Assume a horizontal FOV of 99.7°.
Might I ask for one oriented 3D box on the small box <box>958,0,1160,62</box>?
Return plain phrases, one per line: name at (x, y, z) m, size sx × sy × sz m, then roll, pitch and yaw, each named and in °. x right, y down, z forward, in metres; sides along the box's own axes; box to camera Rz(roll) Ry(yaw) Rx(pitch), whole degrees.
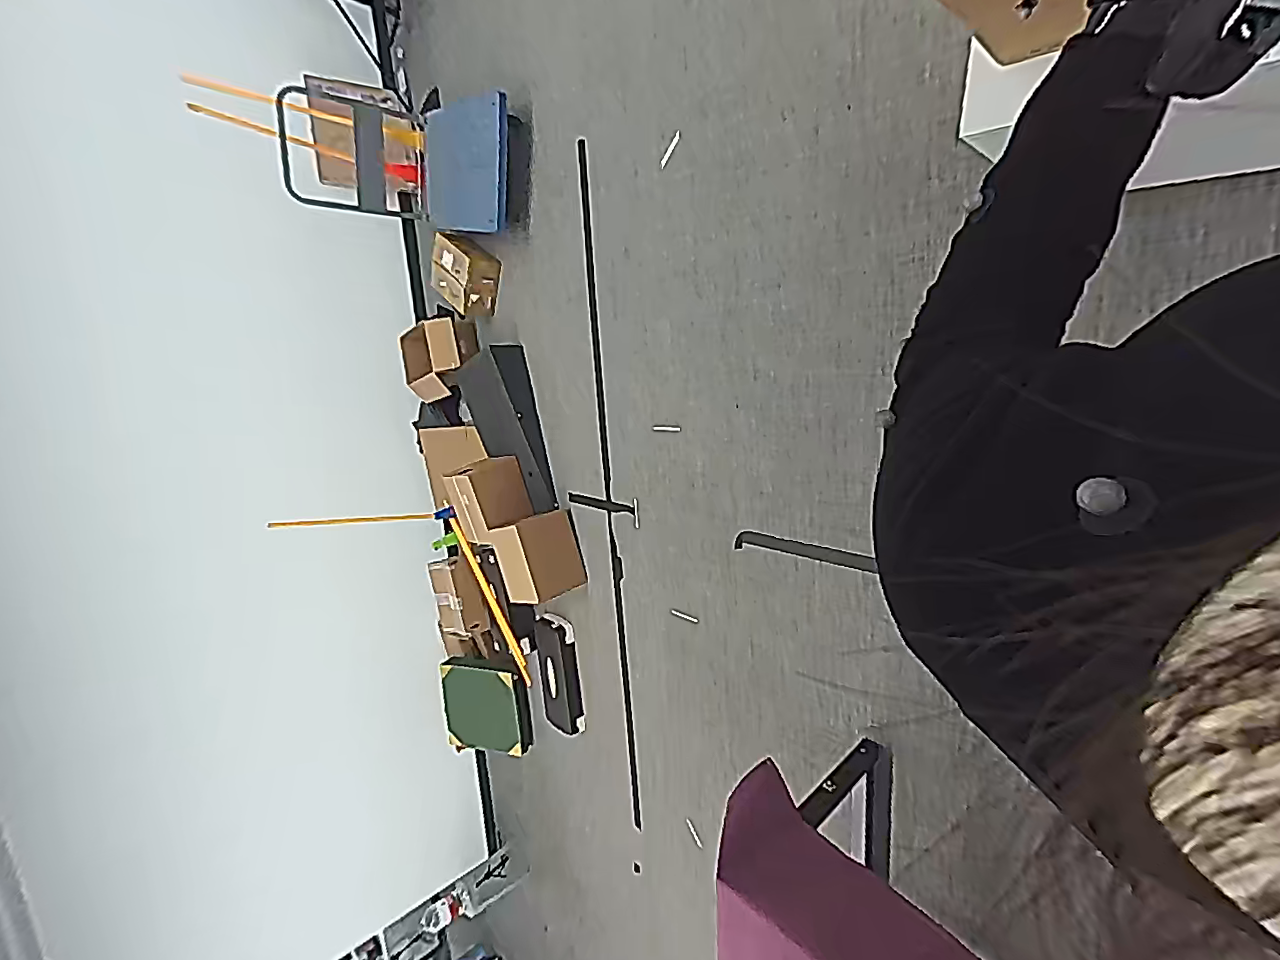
small box at (0.488, -0.624, 0.609) m, size 0.168 × 0.176 × 0.179 m, roll 17°, pitch 111°, yaw 46°
